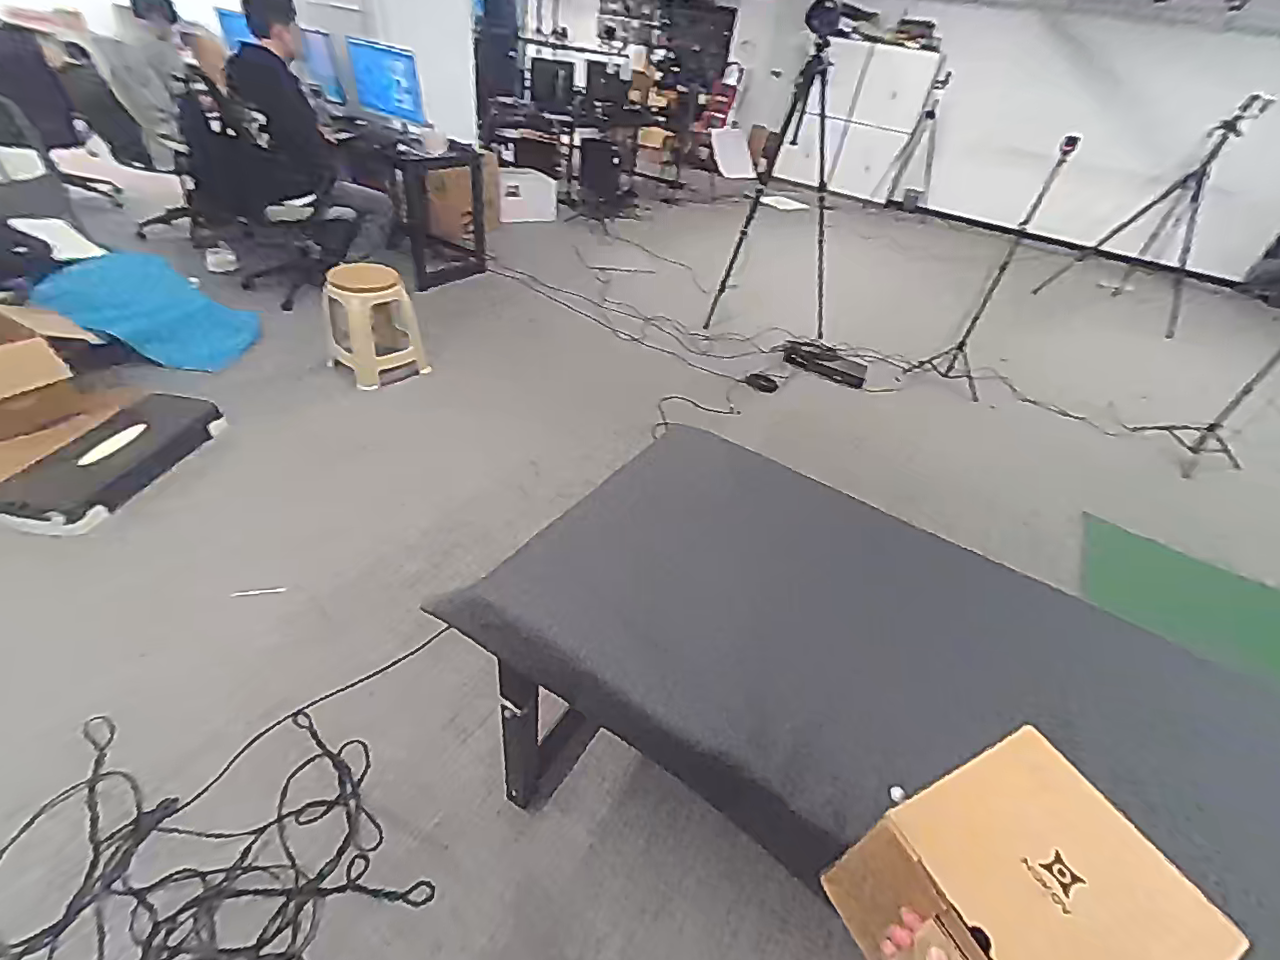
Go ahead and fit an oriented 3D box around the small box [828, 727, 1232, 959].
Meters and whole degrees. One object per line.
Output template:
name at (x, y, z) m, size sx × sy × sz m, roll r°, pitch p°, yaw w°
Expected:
small box at (0.289, 0.344, 0.441) m, size 0.179 × 0.176 × 0.168 m, roll -13°, pitch 44°, yaw -24°
